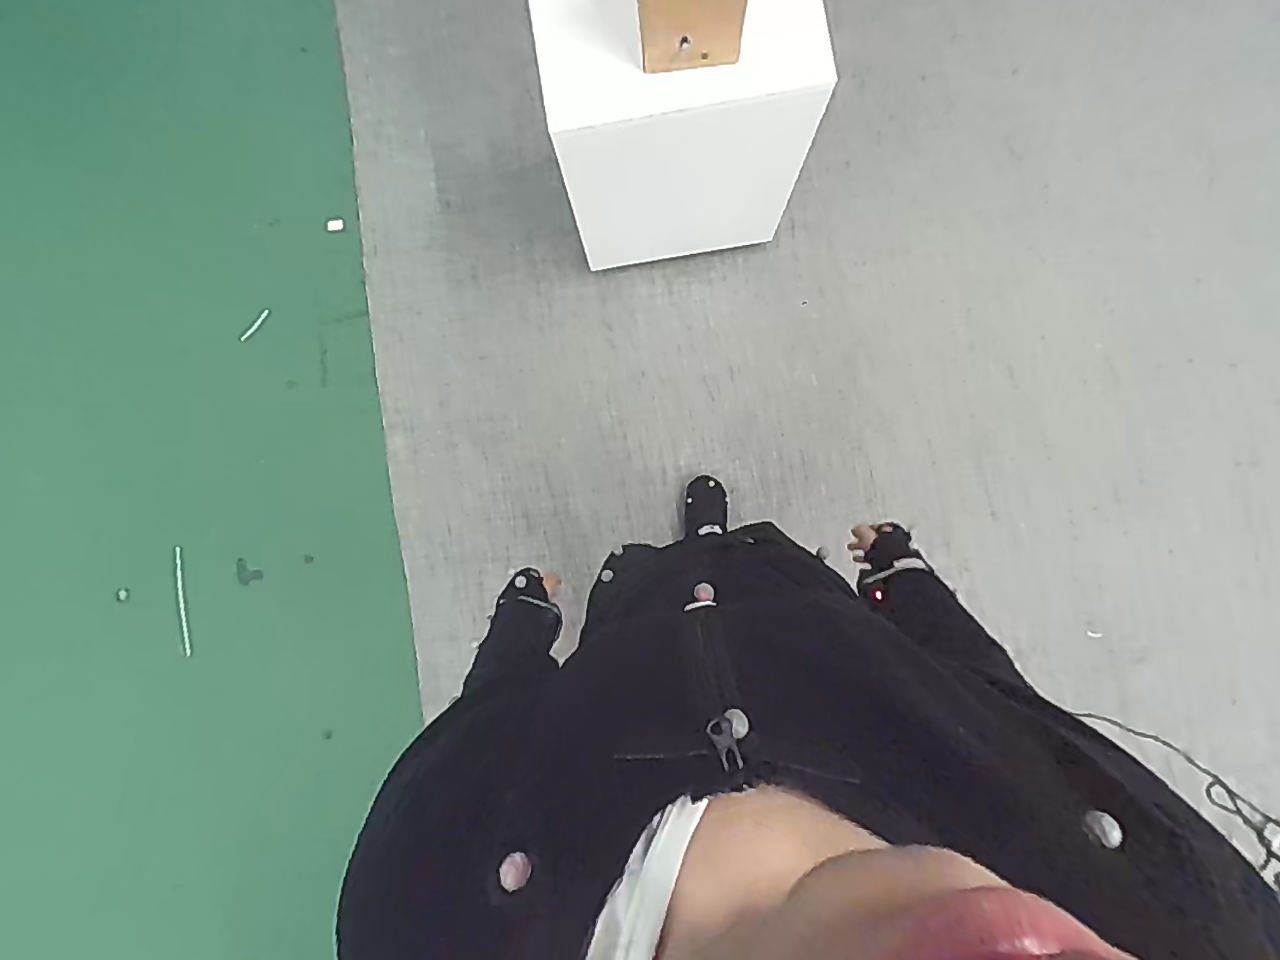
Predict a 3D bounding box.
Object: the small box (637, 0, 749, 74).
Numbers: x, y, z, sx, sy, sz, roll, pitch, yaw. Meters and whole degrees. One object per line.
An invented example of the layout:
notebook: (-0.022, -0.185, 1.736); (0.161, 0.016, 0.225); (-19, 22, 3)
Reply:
small box: (0.078, -0.798, 0.857); (0.168, 0.176, 0.179); (-6, 85, 2)
